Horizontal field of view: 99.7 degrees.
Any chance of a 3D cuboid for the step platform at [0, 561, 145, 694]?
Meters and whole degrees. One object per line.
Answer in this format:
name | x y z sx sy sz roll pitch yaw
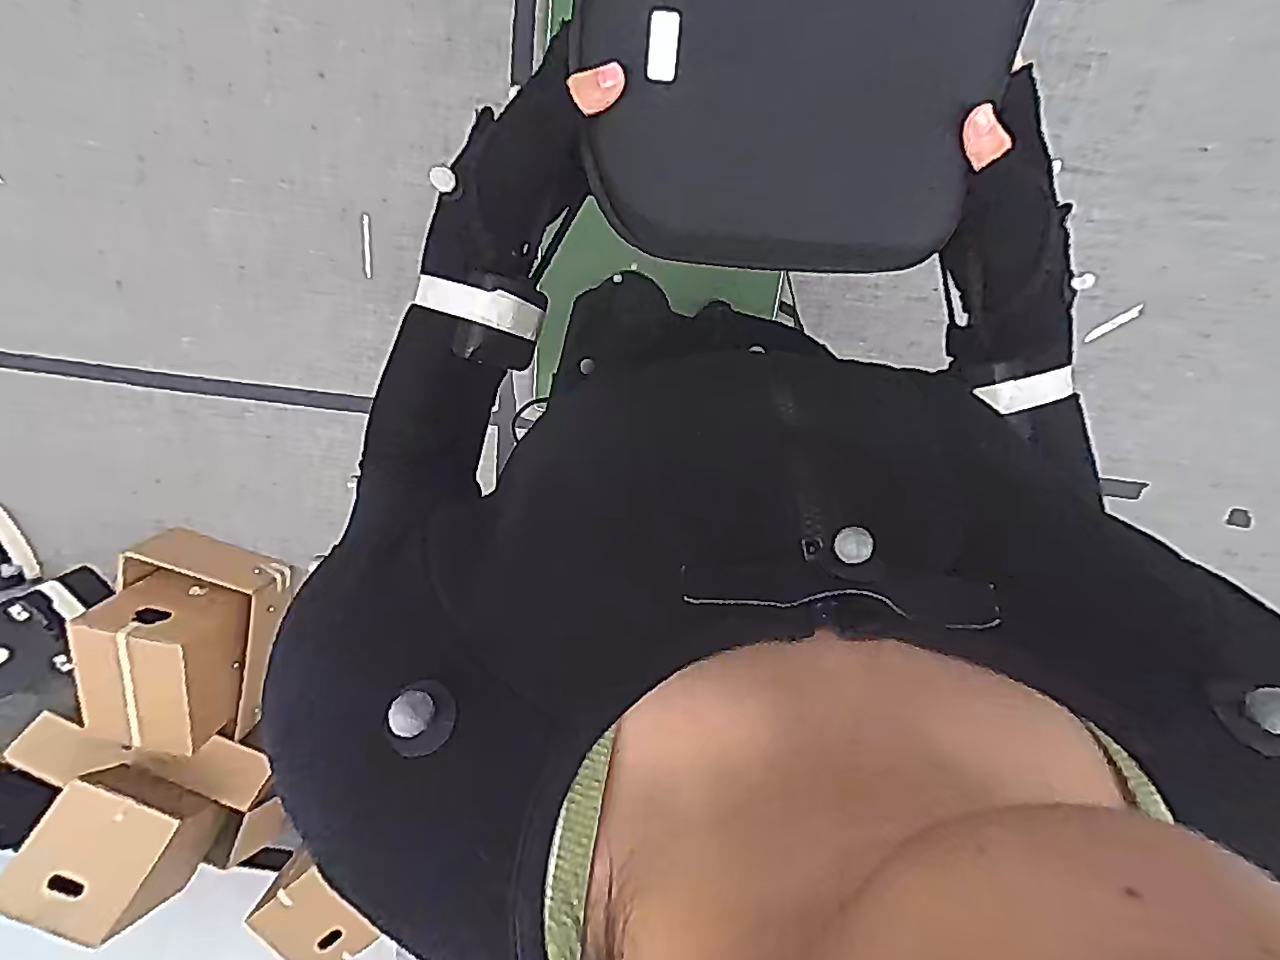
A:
step platform | -2.052 0.519 1.794 0.684 0.204 0.286 -21 107 10
